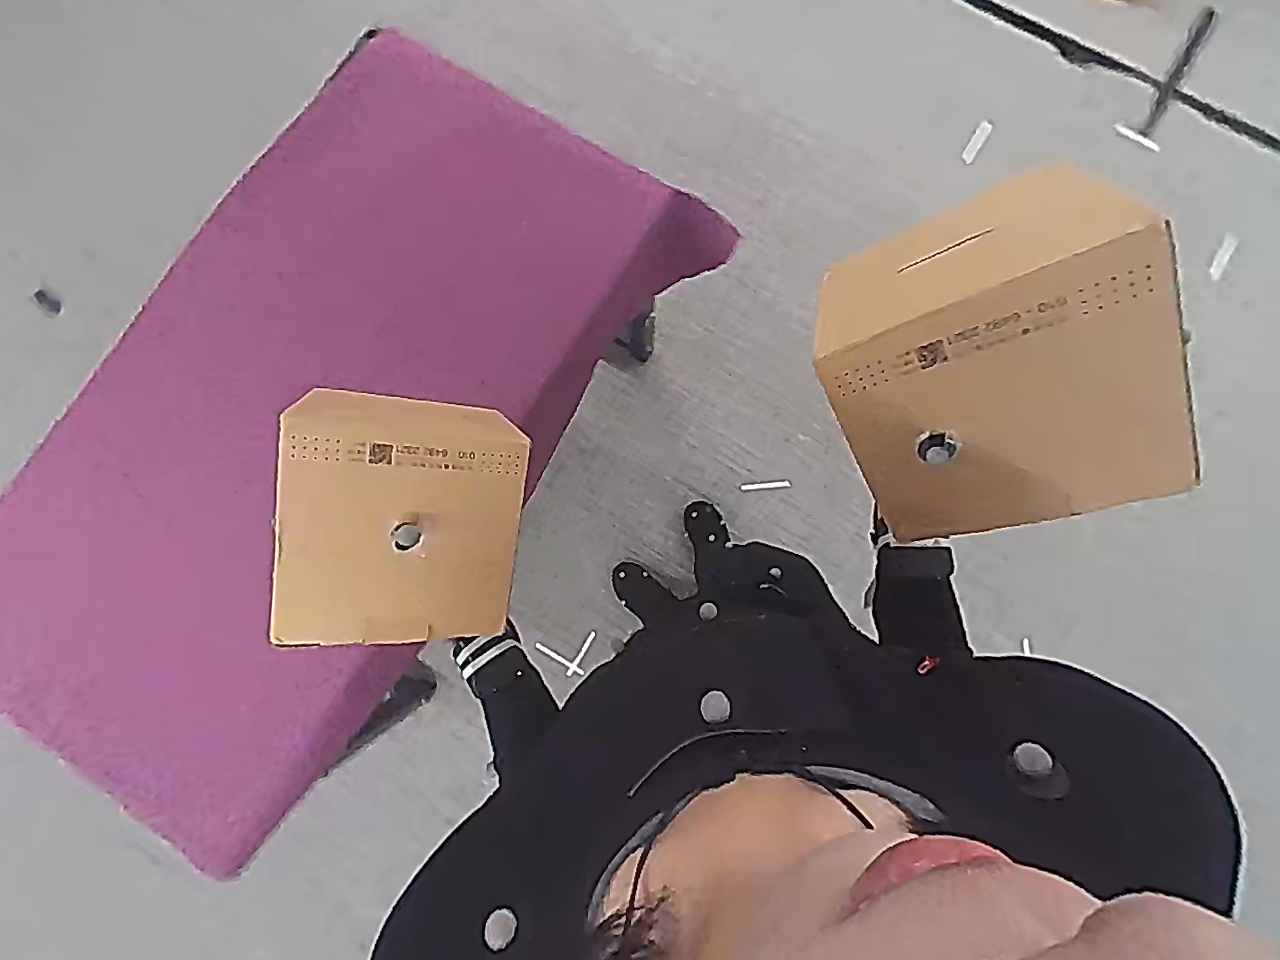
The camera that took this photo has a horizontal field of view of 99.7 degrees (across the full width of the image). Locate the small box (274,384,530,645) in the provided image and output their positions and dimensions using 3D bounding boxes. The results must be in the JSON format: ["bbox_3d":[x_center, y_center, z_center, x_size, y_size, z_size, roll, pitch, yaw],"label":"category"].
[{"bbox_3d":[-0.195,0.017,0.457,0.168,0.179,0.176,6,103,-24],"label":"small box"}]

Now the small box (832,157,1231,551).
[{"bbox_3d":[0.240,-0.083,0.366,0.168,0.179,0.176,-17,120,32],"label":"small box"}]
